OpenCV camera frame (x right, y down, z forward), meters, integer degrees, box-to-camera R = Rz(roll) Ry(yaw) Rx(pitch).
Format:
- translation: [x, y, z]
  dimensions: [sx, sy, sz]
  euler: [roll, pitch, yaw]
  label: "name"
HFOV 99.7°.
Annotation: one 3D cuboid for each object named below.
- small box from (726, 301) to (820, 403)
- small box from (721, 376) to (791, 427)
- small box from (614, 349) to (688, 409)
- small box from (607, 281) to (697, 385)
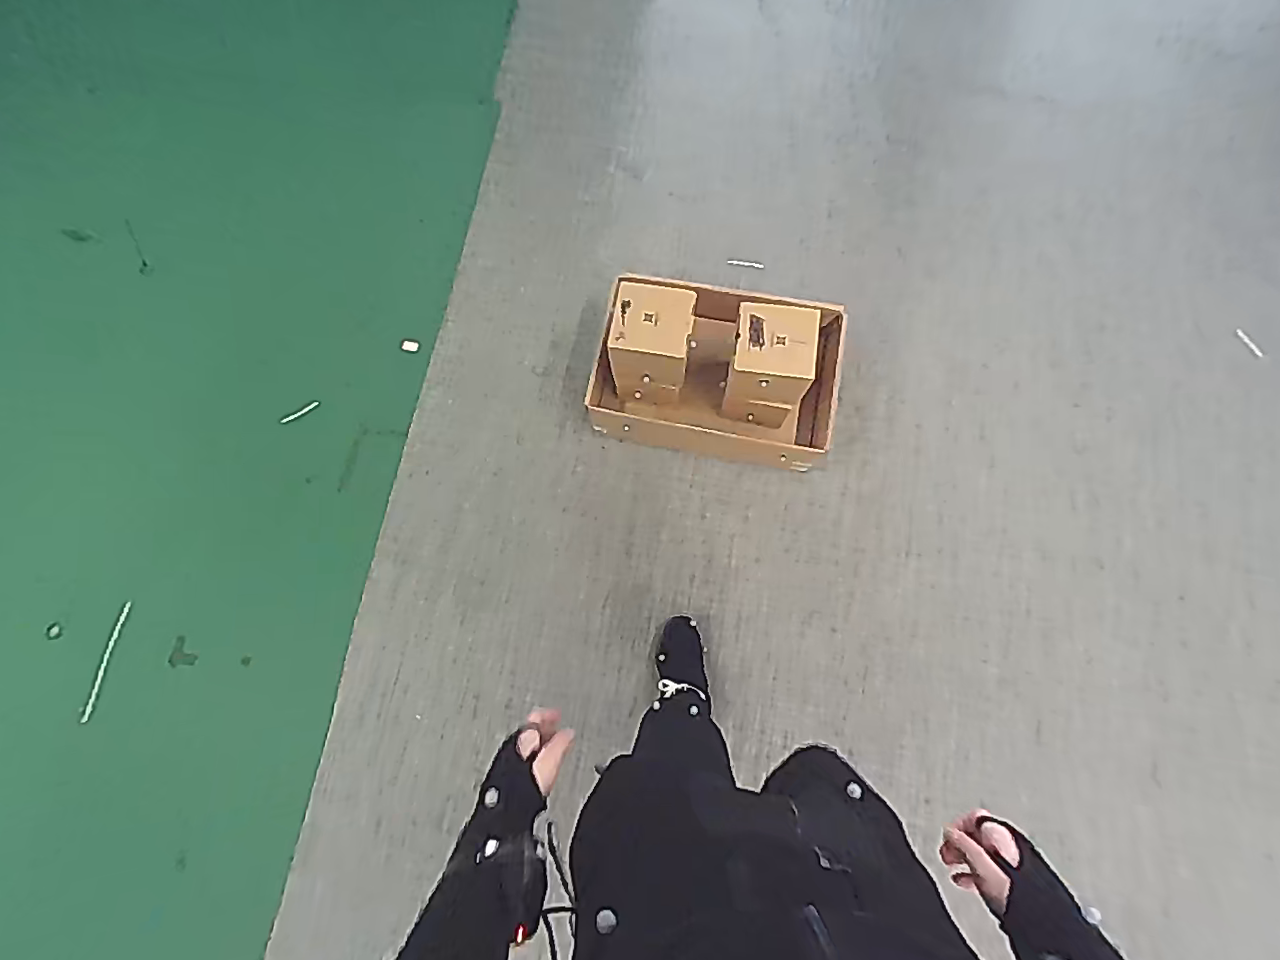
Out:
- translation: [0.300, -0.289, 1.249]
  dimensions: [0.179, 0.176, 0.168]
  euler: [8, 79, 4]
  label: "small box"
- translation: [0.309, -0.252, 1.409]
  dimensions: [0.168, 0.176, 0.179]
  euler: [12, 78, 6]
  label: "small box"
- translation: [0.034, -0.305, 1.434]
  dimensions: [0.168, 0.176, 0.179]
  euler: [11, 77, 4]
  label: "small box"
- translation: [0.029, -0.339, 1.273]
  dimensions: [0.179, 0.176, 0.168]
  euler: [10, 77, 4]
  label: "small box"
